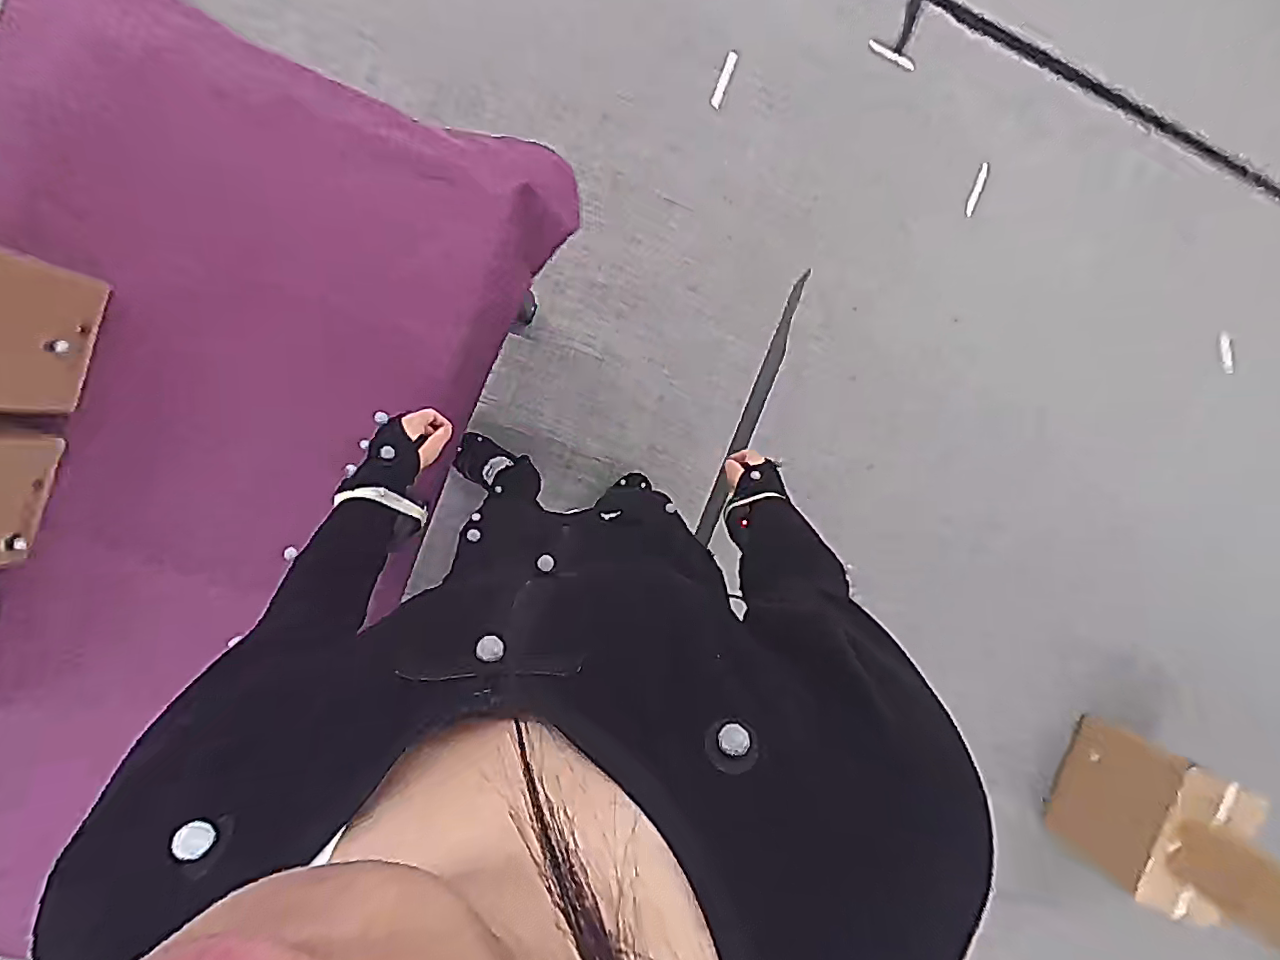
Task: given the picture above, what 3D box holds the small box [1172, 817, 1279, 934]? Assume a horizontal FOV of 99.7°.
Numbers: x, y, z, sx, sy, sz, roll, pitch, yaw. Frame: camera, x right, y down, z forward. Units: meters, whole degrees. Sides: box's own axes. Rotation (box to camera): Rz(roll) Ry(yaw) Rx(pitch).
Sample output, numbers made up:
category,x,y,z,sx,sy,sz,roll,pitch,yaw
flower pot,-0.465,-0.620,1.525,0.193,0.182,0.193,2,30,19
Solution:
category,x,y,z,sx,sy,sz,roll,pitch,yaw
small box,1.570,1.031,1.421,0.168,0.176,0.179,19,93,-7
